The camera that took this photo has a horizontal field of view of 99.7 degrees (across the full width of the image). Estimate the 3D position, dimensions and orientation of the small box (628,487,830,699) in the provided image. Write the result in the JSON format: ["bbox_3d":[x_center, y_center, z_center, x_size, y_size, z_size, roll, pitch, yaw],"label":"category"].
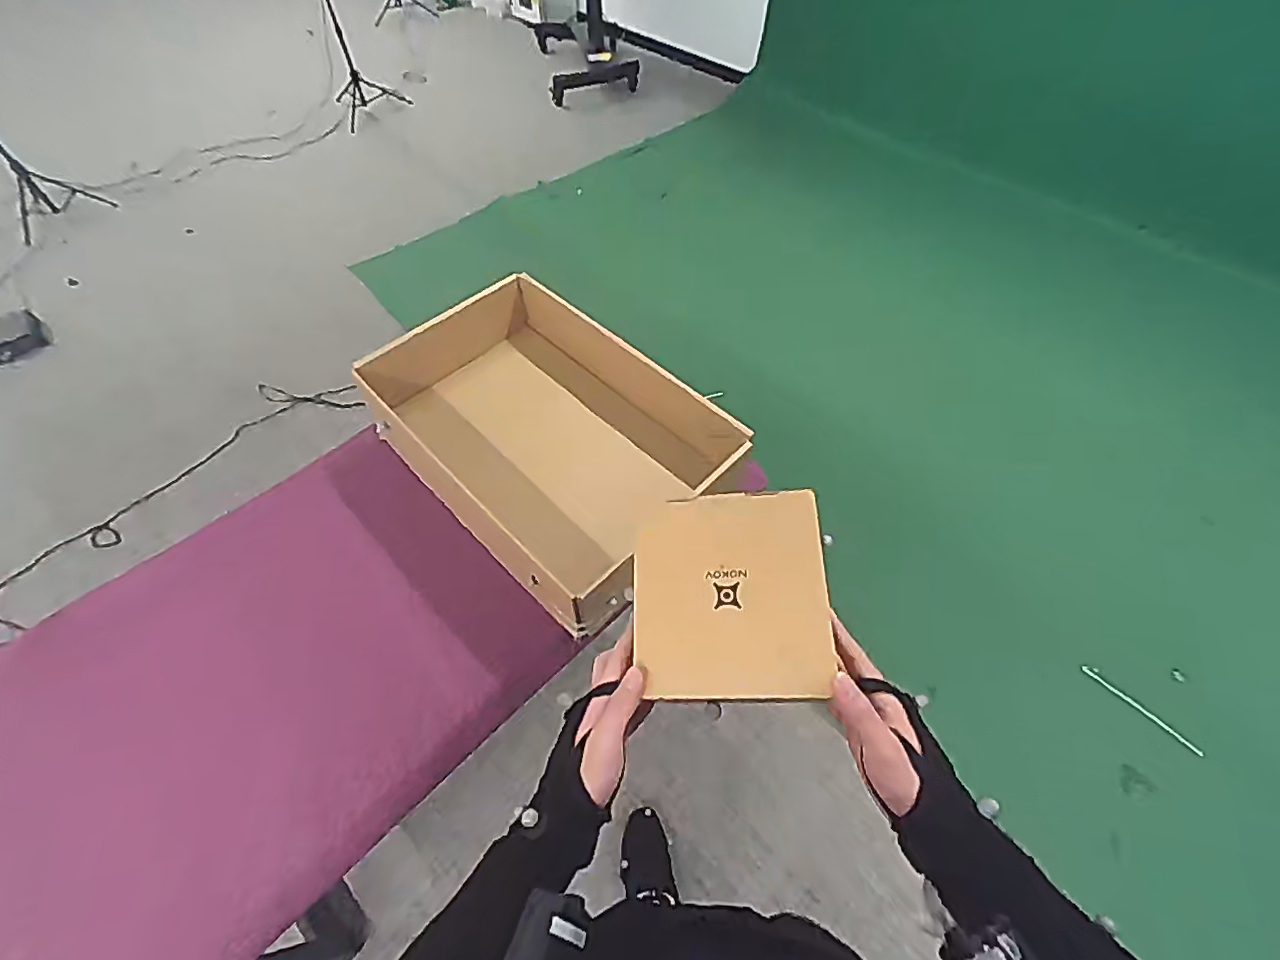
[{"bbox_3d":[0.087,0.122,0.536,0.168,0.176,0.179,-5,66,11],"label":"small box"}]
